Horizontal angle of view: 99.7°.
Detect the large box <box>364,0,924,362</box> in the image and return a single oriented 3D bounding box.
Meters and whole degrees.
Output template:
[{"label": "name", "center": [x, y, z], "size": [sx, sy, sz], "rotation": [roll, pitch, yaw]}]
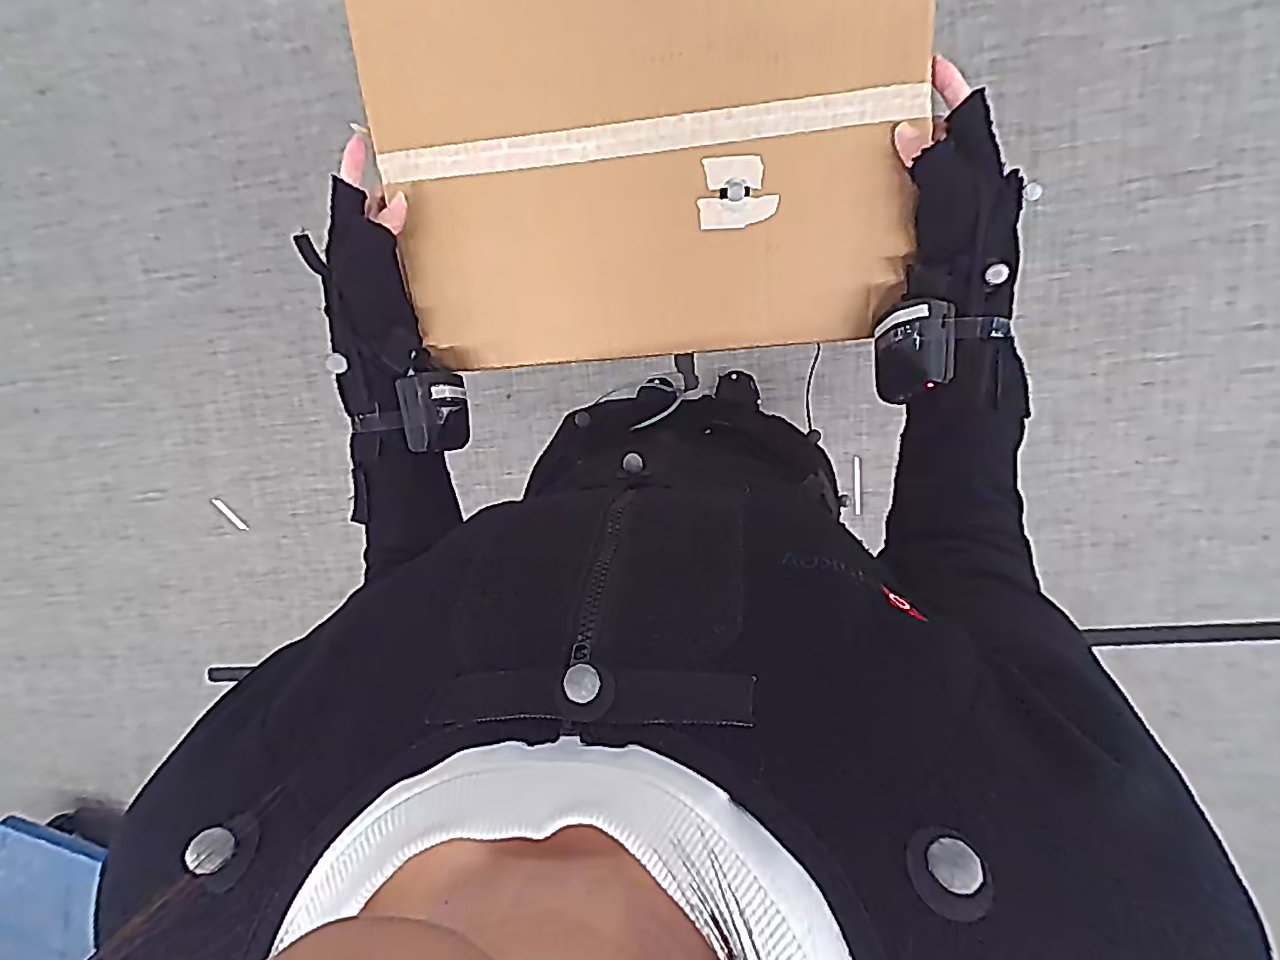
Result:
[{"label": "large box", "center": [0.013, -0.307, 0.550], "size": [0.408, 0.320, 0.320], "rotation": [-4, 108, 5]}]
